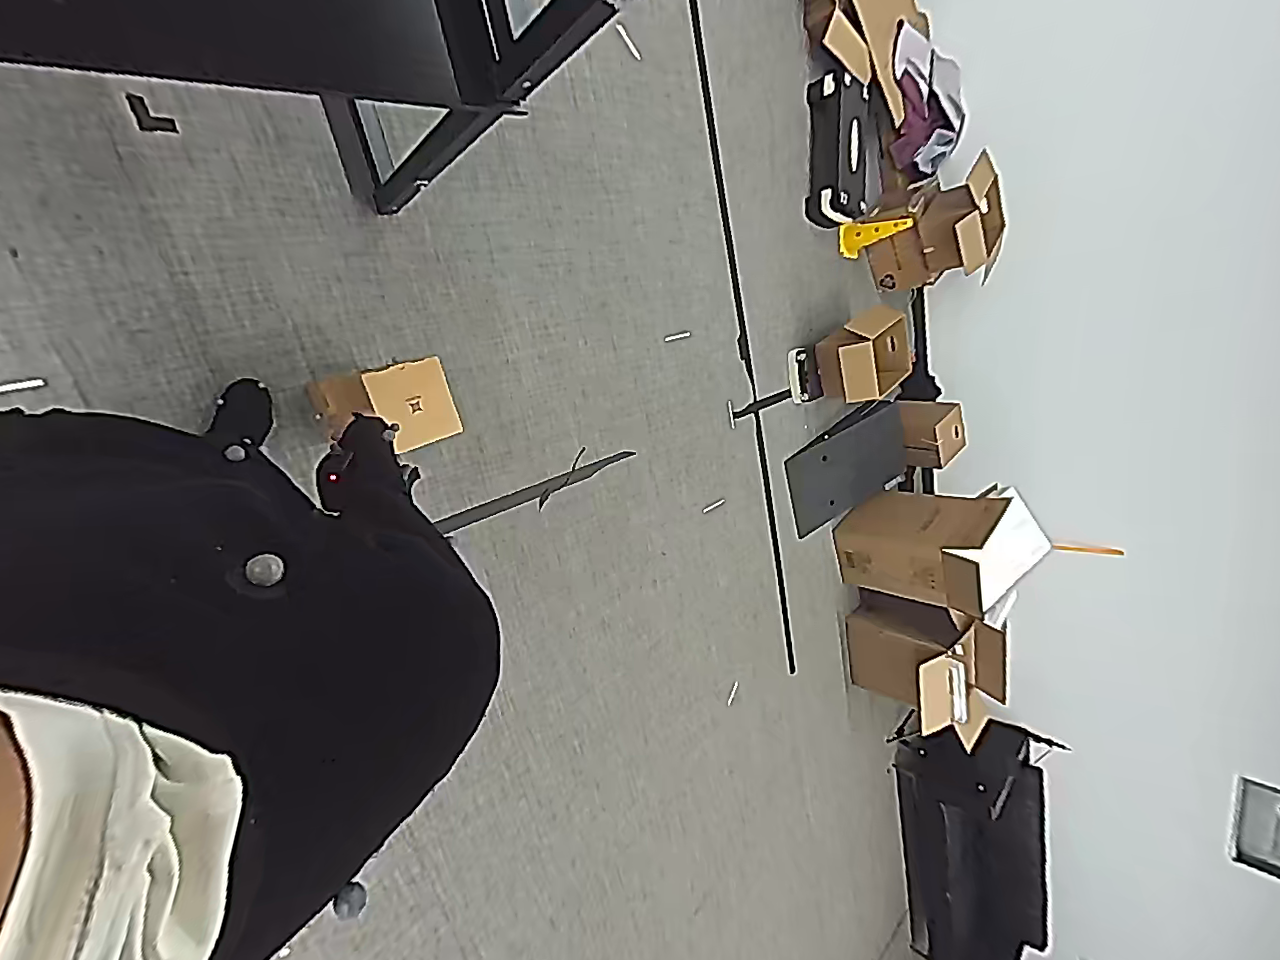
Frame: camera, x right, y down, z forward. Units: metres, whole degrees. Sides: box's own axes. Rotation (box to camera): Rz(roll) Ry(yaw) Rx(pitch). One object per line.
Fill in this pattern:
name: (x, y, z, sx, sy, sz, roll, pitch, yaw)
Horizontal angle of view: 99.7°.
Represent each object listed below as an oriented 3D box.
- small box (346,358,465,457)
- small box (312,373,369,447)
small box: (-0.522, -0.164, 1.202, 0.168, 0.176, 0.179, -28, 113, -36)
small box: (-0.741, -0.195, 1.443, 0.179, 0.176, 0.168, -26, 111, -36)
